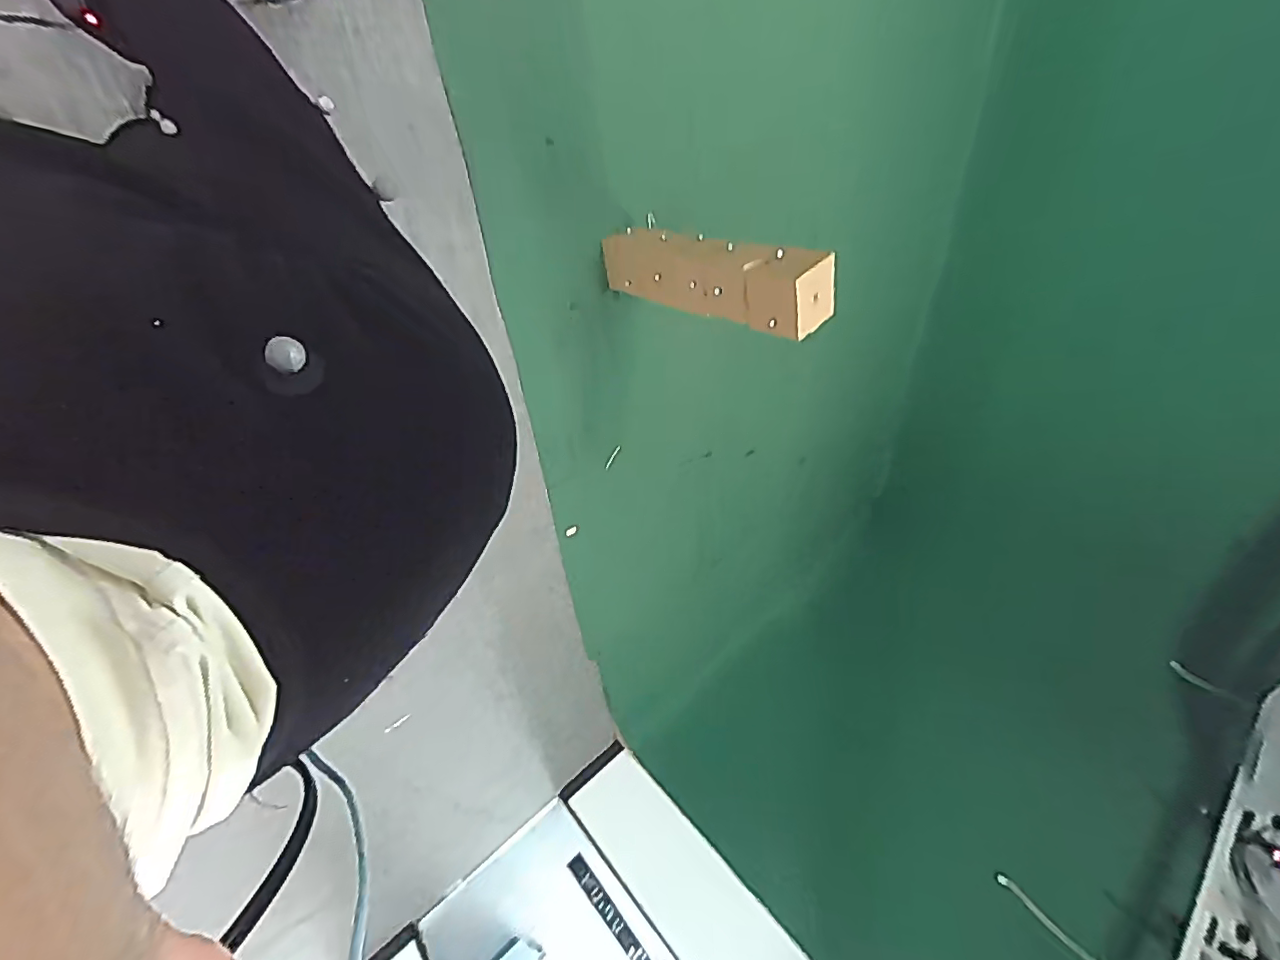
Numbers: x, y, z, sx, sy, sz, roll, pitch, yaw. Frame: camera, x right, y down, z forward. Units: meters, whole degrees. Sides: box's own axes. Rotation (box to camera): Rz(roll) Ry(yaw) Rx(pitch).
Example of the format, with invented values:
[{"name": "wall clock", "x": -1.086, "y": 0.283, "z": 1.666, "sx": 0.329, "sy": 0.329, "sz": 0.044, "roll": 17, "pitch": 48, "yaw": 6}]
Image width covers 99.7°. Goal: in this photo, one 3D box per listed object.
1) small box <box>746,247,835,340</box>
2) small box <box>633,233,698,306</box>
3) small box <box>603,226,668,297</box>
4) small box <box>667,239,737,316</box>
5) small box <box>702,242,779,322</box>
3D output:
[{"name": "small box", "x": 0.407, "y": -0.511, "z": 1.469, "sx": 0.168, "sy": 0.176, "sz": 0.179, "roll": -39, "pitch": 136, "yaw": -22}, {"name": "small box", "x": 0.095, "y": -0.703, "z": 1.795, "sx": 0.168, "sy": 0.176, "sz": 0.179, "roll": -32, "pitch": 134, "yaw": -26}, {"name": "small box", "x": -0.009, "y": -0.771, "z": 1.898, "sx": 0.168, "sy": 0.176, "sz": 0.179, "roll": -34, "pitch": 135, "yaw": -26}, {"name": "small box", "x": 0.198, "y": -0.638, "z": 1.686, "sx": 0.168, "sy": 0.176, "sz": 0.179, "roll": -34, "pitch": 135, "yaw": -25}, {"name": "small box", "x": 0.293, "y": -0.577, "z": 1.566, "sx": 0.179, "sy": 0.176, "sz": 0.168, "roll": -30, "pitch": 133, "yaw": -27}]
